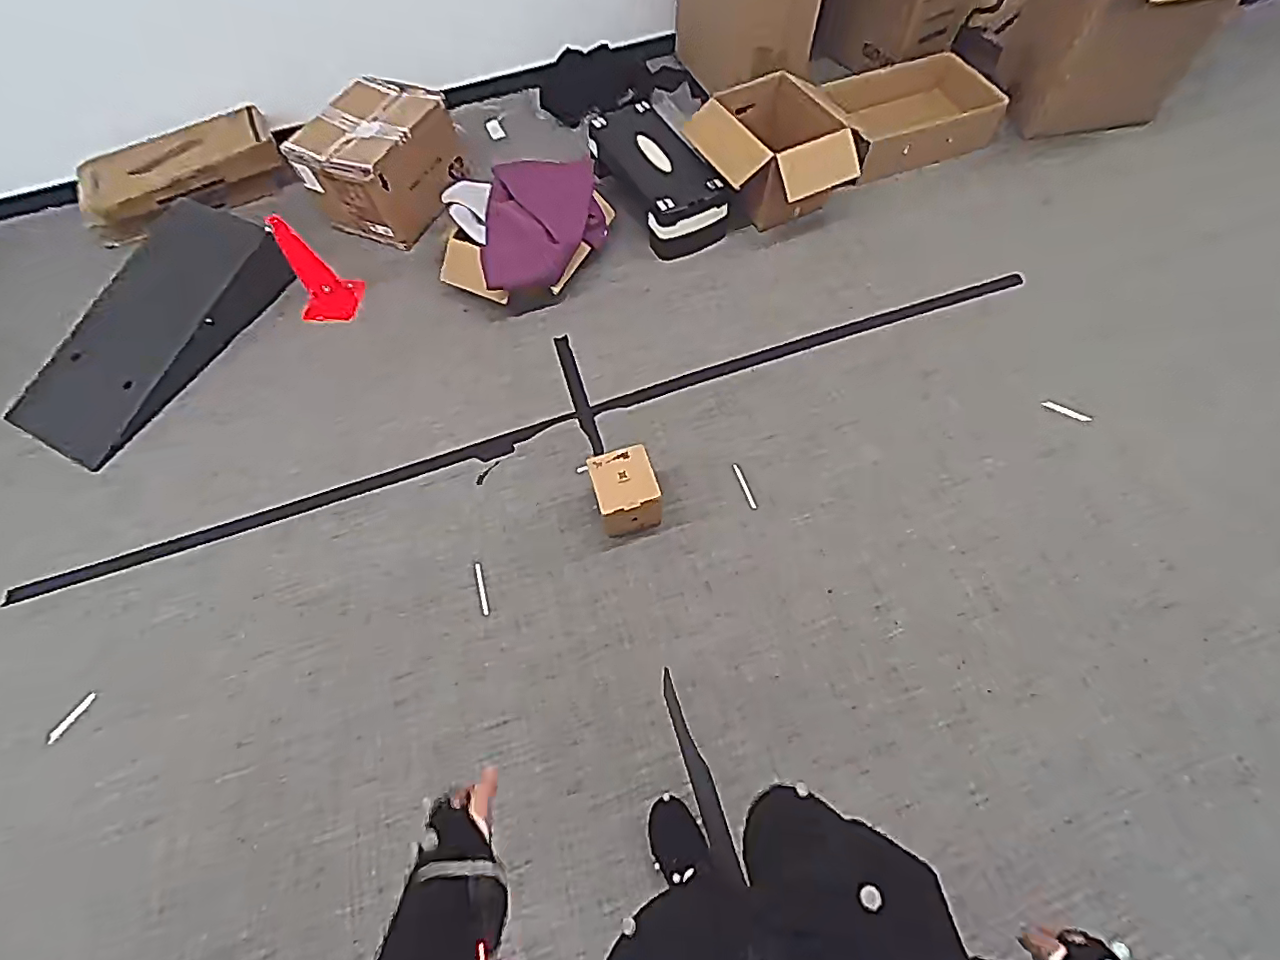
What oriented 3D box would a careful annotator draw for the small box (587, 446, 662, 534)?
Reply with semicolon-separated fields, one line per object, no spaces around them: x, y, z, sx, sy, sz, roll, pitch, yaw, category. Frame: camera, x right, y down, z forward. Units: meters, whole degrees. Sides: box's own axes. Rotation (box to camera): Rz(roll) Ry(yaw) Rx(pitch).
-0.040;0.037;1.509;0.168;0.176;0.179;-16;64;-5;small box
